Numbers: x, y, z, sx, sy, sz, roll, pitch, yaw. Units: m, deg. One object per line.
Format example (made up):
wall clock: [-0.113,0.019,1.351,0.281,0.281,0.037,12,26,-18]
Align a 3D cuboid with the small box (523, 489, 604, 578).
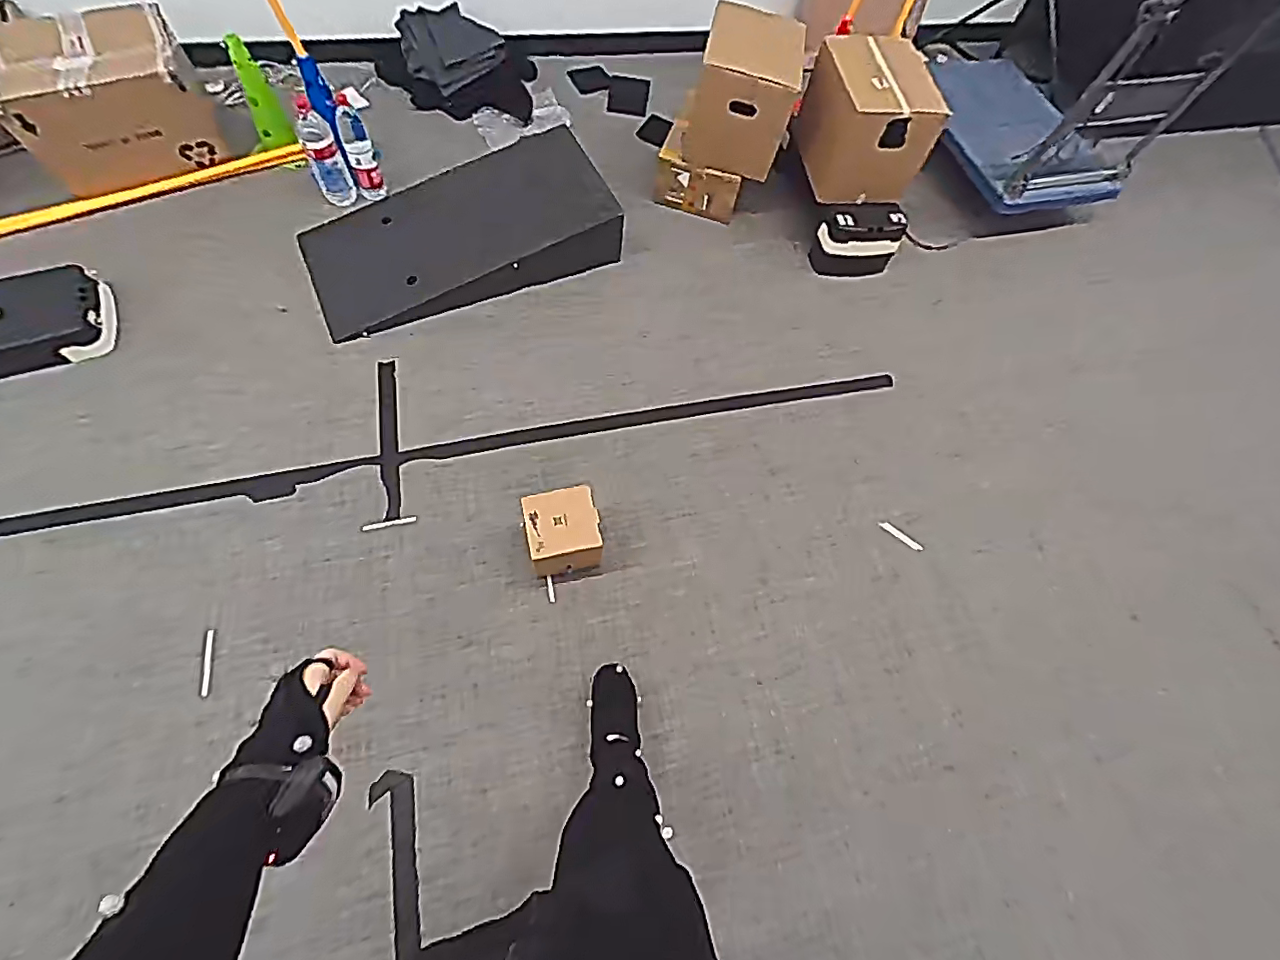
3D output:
small box: [-0.197,0.140,1.381,0.179,0.176,0.168,-9,66,-11]
